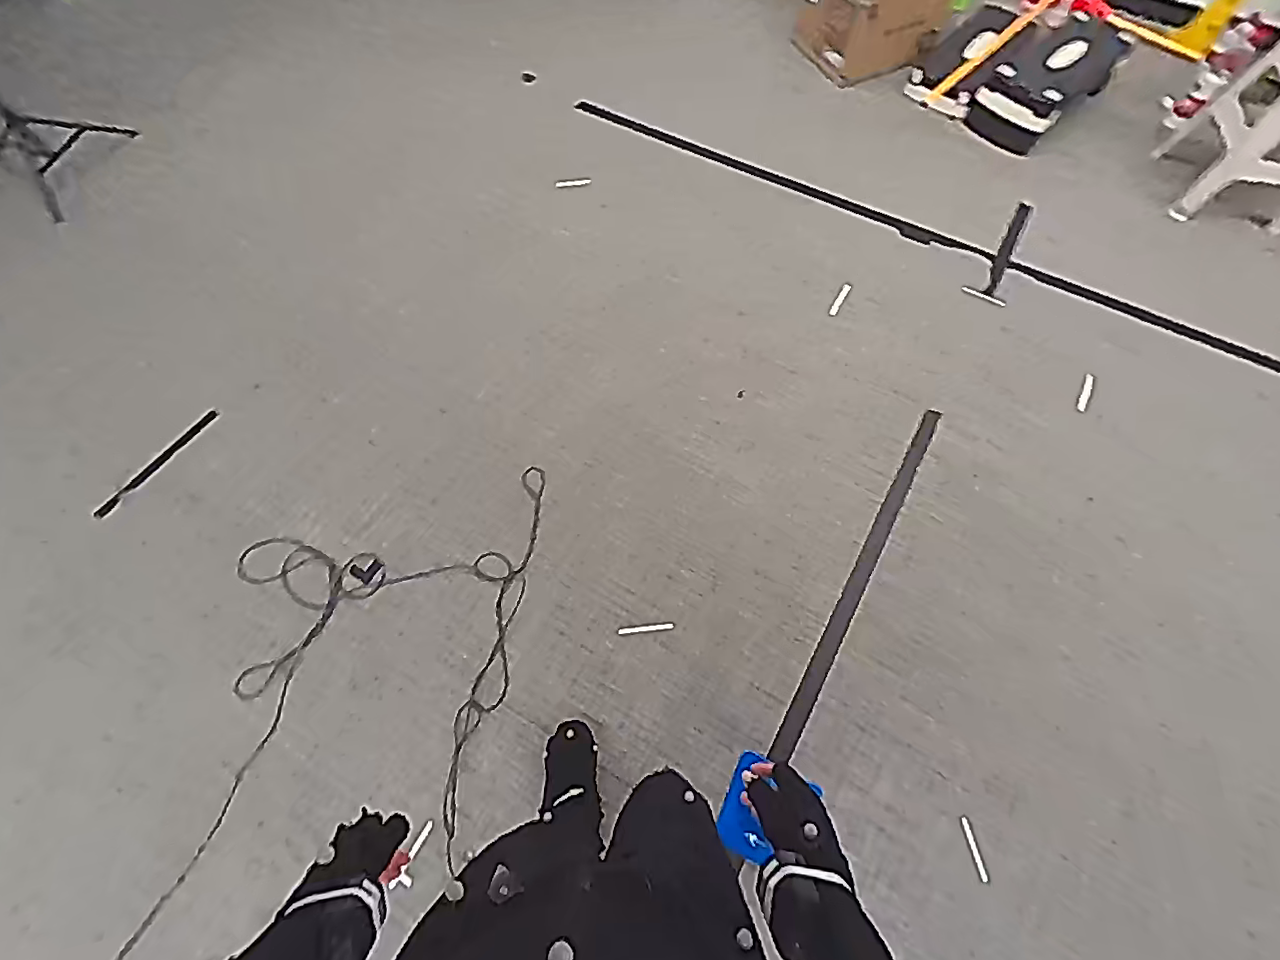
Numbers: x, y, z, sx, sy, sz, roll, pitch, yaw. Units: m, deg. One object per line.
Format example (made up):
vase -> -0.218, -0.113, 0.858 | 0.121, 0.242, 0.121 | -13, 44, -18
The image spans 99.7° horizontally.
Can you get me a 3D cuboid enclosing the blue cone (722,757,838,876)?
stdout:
blue cone -> 0.293, 0.678, 1.055 | 0.192, 0.380, 0.193 | 26, 68, 9
